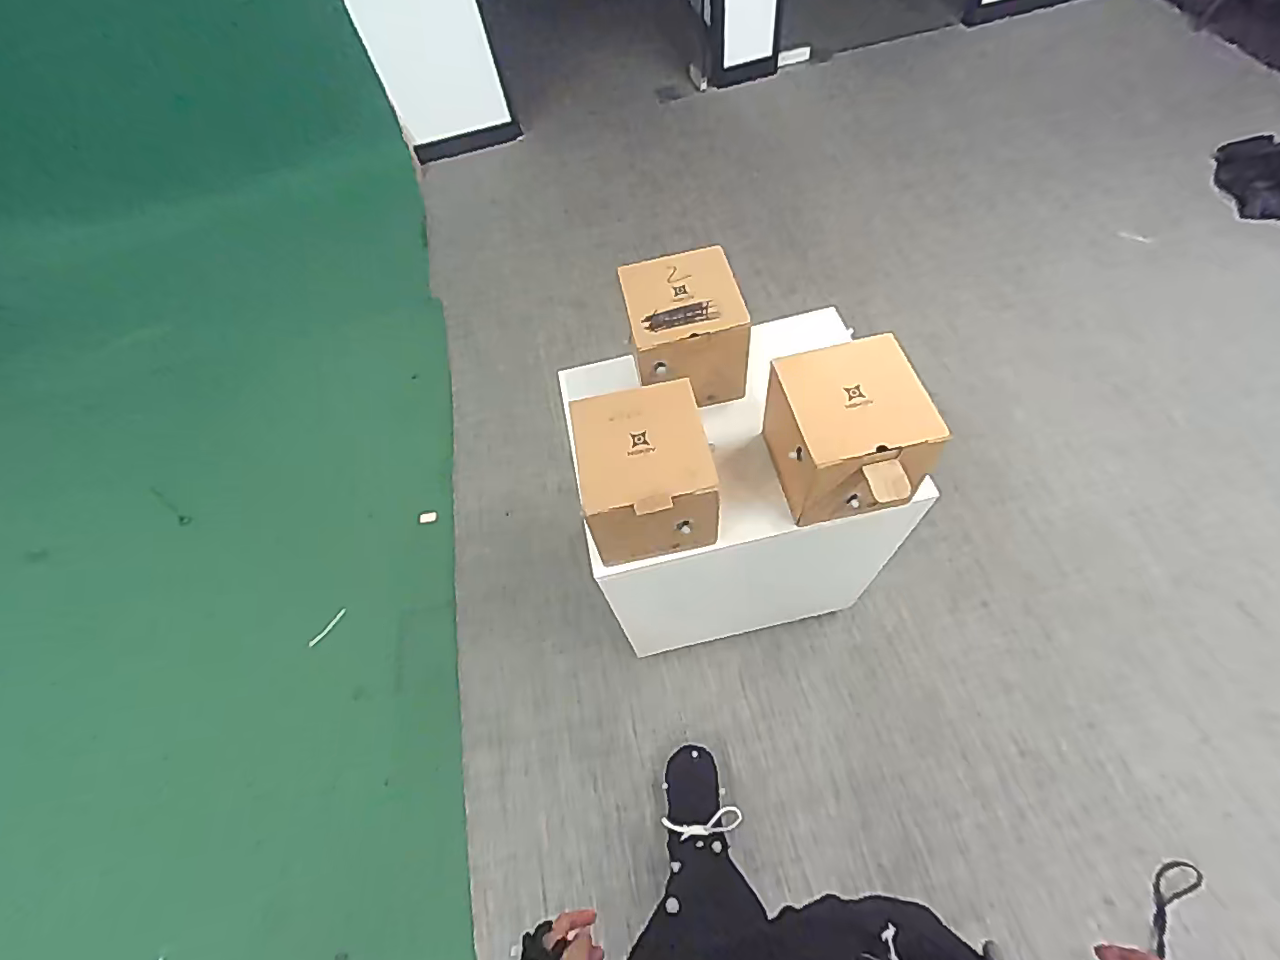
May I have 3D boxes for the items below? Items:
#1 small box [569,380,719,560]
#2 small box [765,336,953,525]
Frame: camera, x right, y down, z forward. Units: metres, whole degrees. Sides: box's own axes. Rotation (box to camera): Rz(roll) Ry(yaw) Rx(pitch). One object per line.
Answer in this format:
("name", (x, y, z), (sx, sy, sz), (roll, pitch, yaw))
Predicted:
("small box", (0.008, -0.003, 0.739), (0.168, 0.176, 0.179), (-12, 58, -1))
("small box", (0.278, -0.062, 0.738), (0.168, 0.176, 0.179), (-13, 59, 0))
